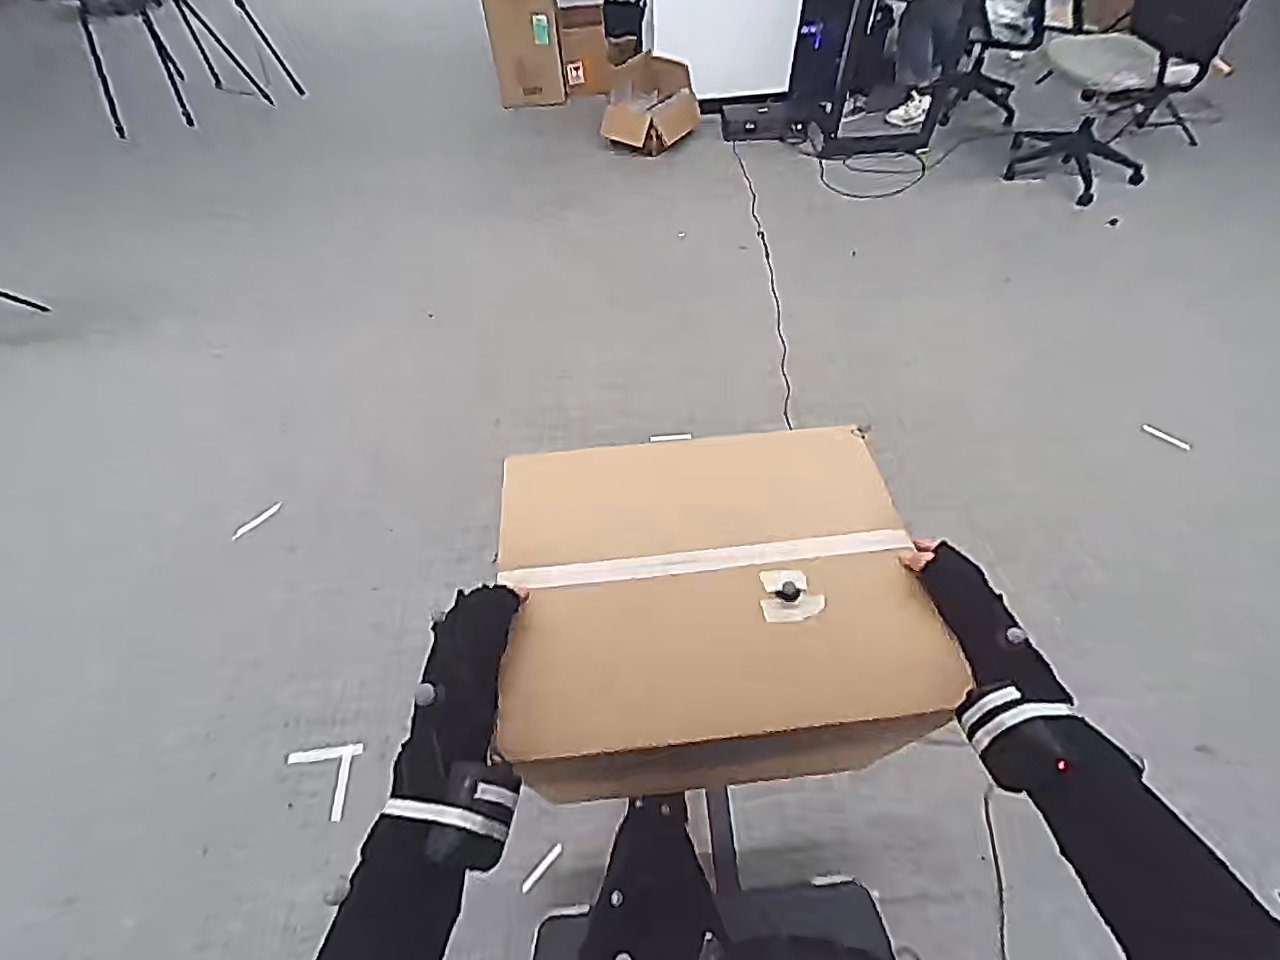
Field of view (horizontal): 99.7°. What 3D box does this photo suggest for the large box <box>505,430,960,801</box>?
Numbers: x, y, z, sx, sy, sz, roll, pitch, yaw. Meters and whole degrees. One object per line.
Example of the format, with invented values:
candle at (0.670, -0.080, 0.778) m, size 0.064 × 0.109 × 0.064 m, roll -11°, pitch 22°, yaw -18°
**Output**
large box at (0.067, 0.171, 0.662) m, size 0.408 × 0.320 × 0.320 m, roll -6°, pitch 53°, yaw -3°
